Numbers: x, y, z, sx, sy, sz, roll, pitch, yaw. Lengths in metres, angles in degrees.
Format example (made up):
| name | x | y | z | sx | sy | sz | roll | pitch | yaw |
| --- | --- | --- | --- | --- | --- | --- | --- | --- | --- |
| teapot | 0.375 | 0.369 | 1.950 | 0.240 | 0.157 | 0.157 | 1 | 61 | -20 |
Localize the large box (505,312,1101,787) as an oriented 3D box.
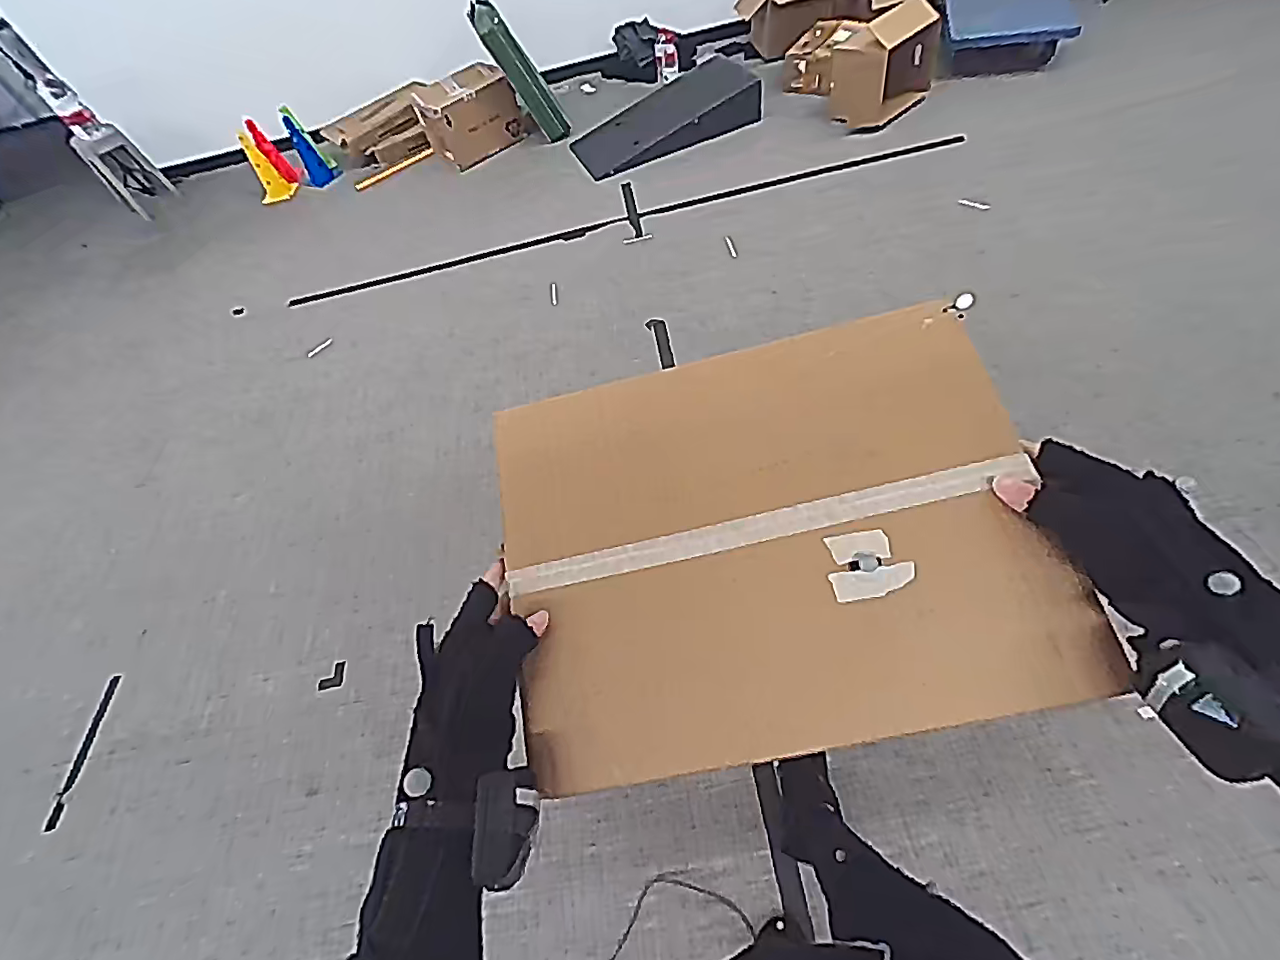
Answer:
| name | x | y | z | sx | sy | sz | roll | pitch | yaw |
| --- | --- | --- | --- | --- | --- | --- | --- | --- | --- |
| large box | 0.117 | 0.089 | 0.572 | 0.408 | 0.320 | 0.320 | -14 | 70 | 5 |
